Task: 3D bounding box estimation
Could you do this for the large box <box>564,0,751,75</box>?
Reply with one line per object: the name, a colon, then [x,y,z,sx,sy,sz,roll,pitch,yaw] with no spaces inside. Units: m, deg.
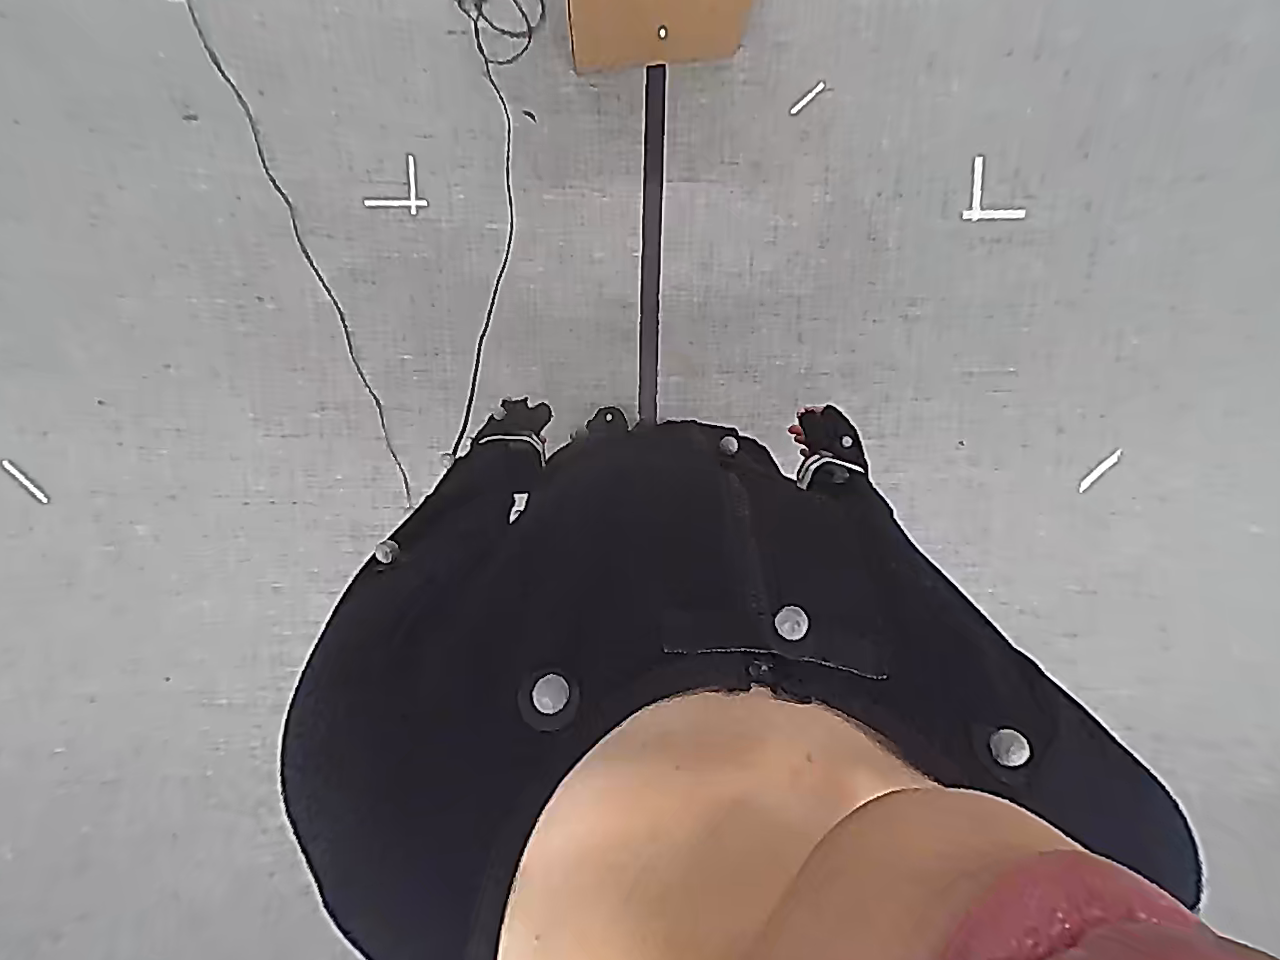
large box: [0.023,-1.162,1.185,0.408,0.320,0.320,-9,99,-2]
